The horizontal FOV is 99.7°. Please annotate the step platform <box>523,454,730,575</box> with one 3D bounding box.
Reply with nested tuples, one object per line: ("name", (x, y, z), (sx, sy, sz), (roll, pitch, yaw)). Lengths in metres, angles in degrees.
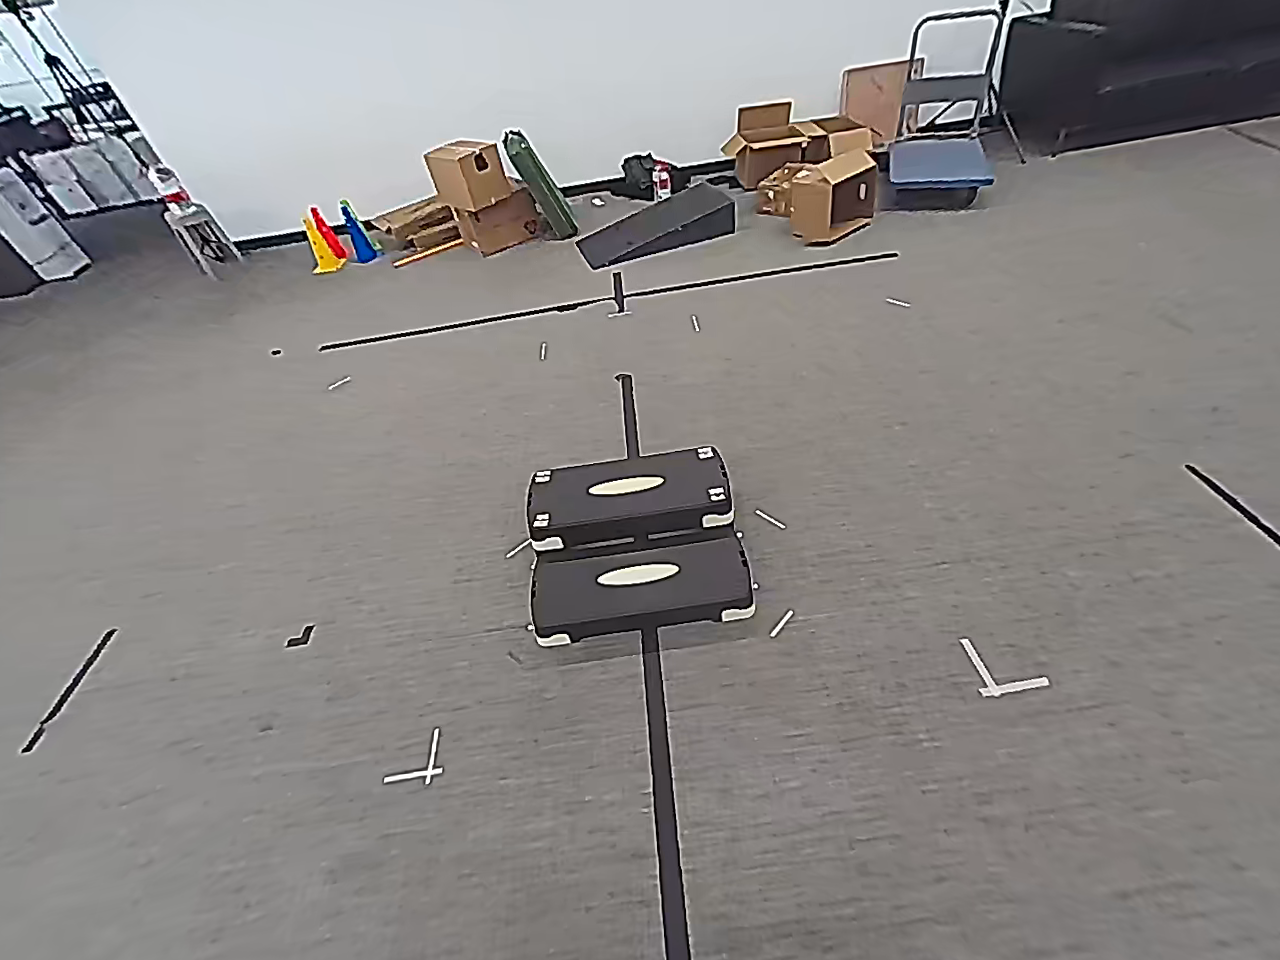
("step platform", (-0.045, 0.109, 1.822), (0.684, 0.204, 0.286), (-8, 45, 0))
